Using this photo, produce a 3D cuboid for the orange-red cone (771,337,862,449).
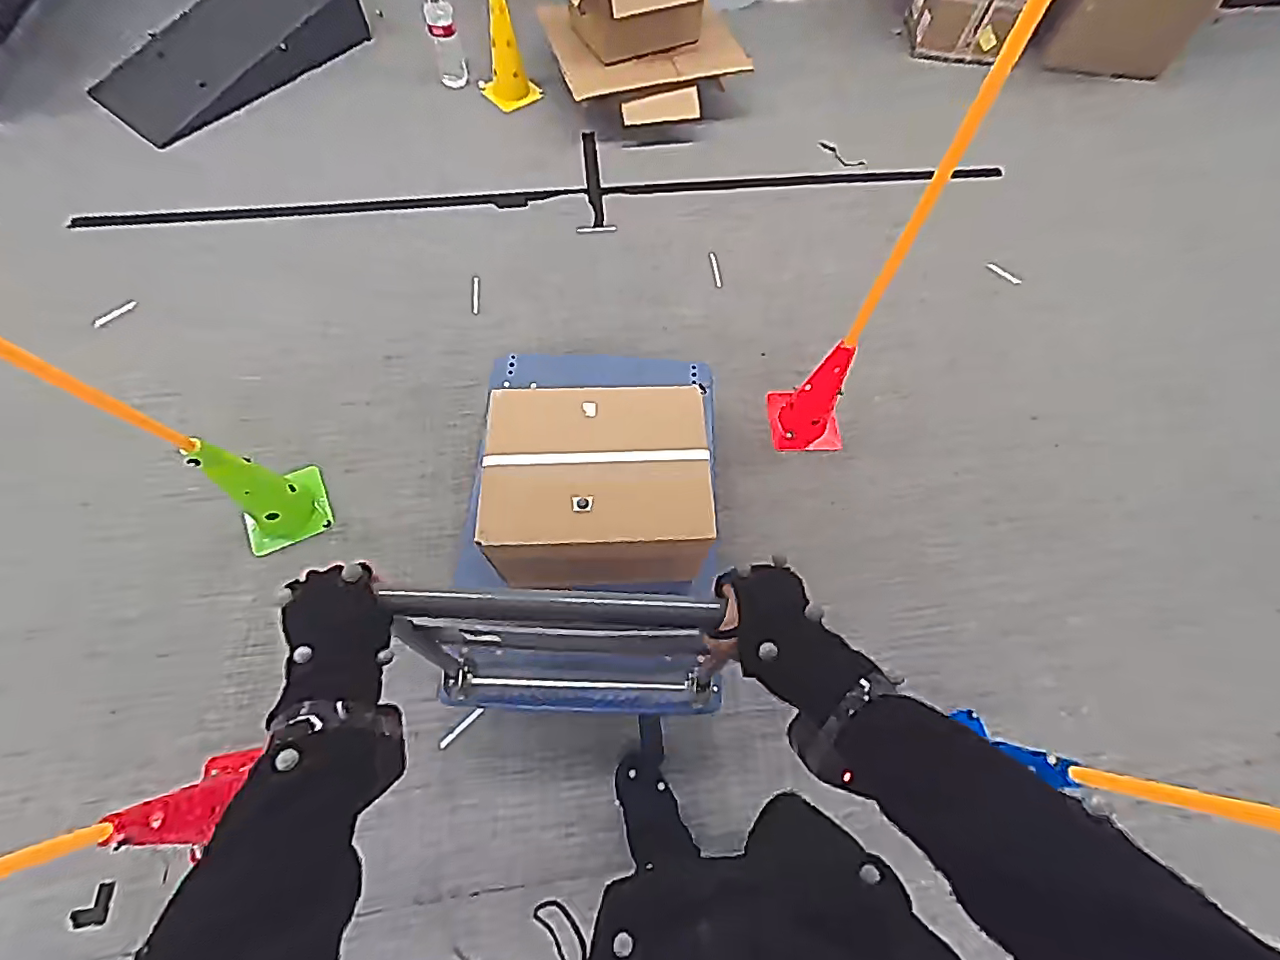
[{"bbox_3d":[0.495,-0.248,1.423,0.199,0.360,0.198,1,66,-3],"label":"orange-red cone"}]
